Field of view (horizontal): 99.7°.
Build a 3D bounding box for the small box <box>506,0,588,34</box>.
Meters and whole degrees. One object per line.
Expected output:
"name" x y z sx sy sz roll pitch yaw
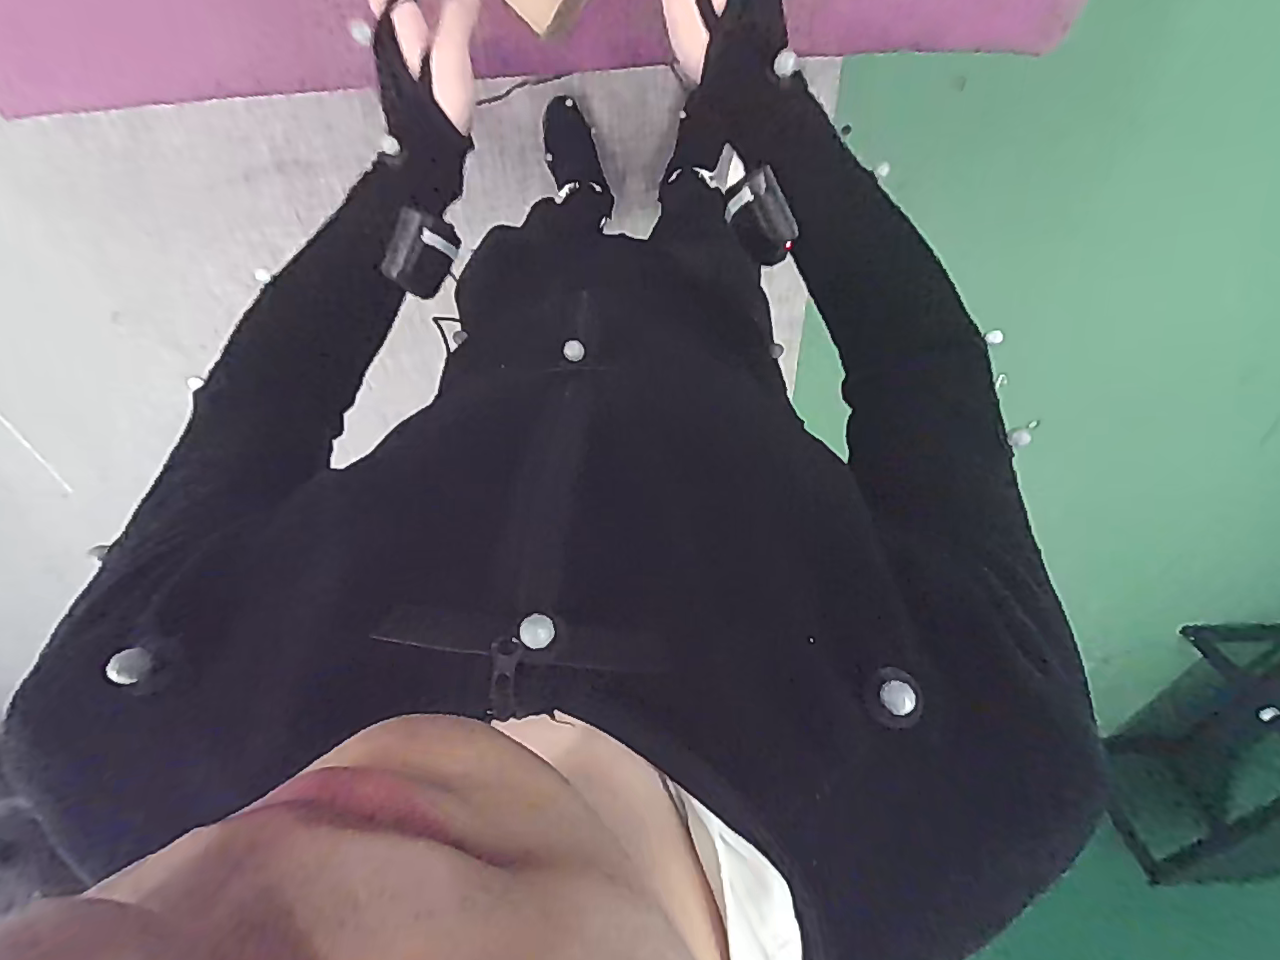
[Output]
"small box" -0.100 -0.531 0.466 0.179 0.176 0.168 35 119 -24
